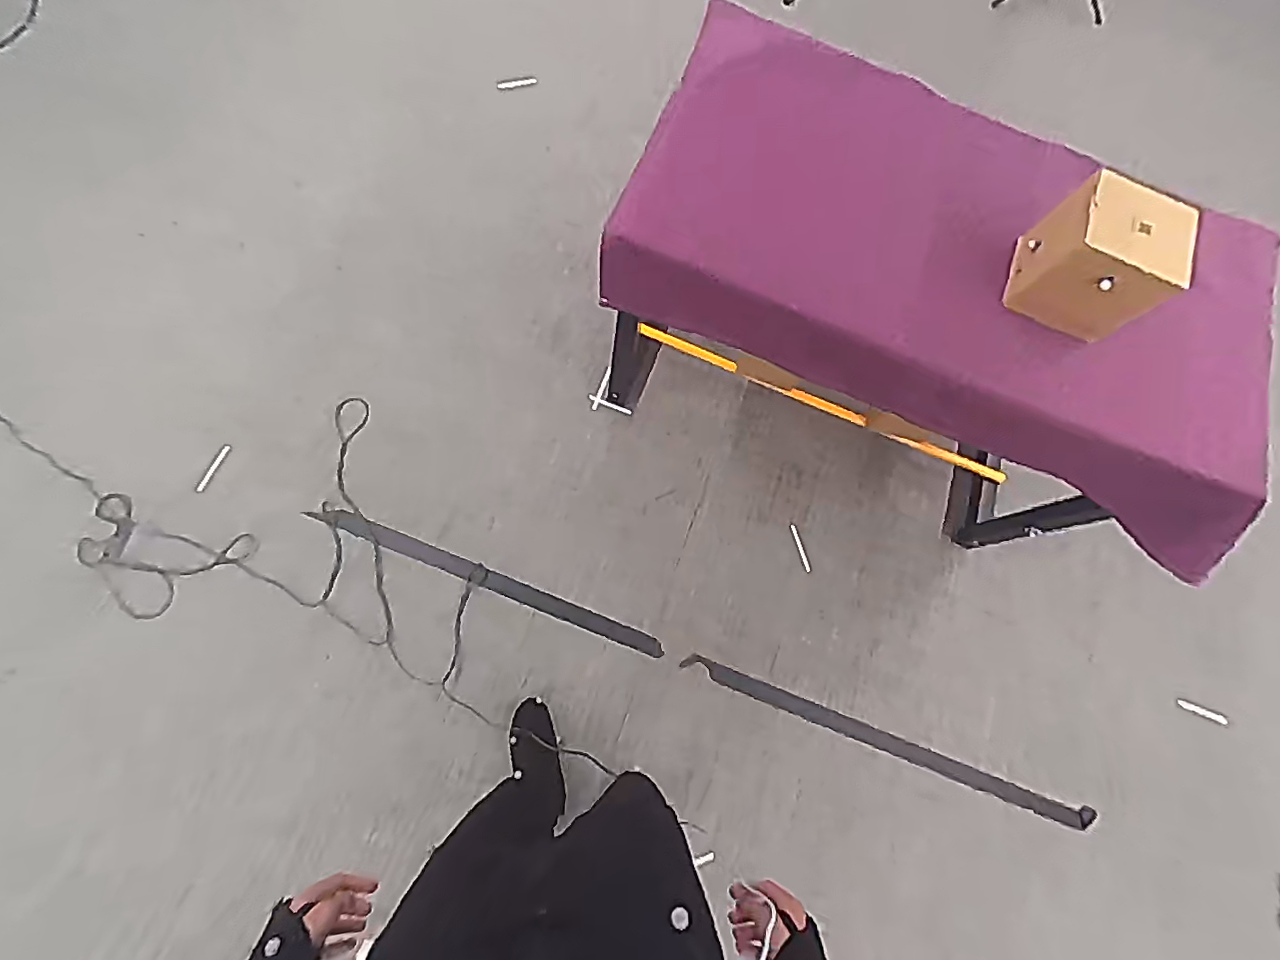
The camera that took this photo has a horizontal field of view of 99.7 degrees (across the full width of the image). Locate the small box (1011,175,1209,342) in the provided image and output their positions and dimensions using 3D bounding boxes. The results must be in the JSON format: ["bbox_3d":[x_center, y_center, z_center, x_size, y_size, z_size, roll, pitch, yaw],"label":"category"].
[{"bbox_3d":[0.781,-0.359,0.911,0.179,0.176,0.168,25,74,1],"label":"small box"}]

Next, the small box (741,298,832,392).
[{"bbox_3d":[0.402,-0.369,1.512,0.179,0.176,0.168,20,73,-3],"label":"small box"}]
